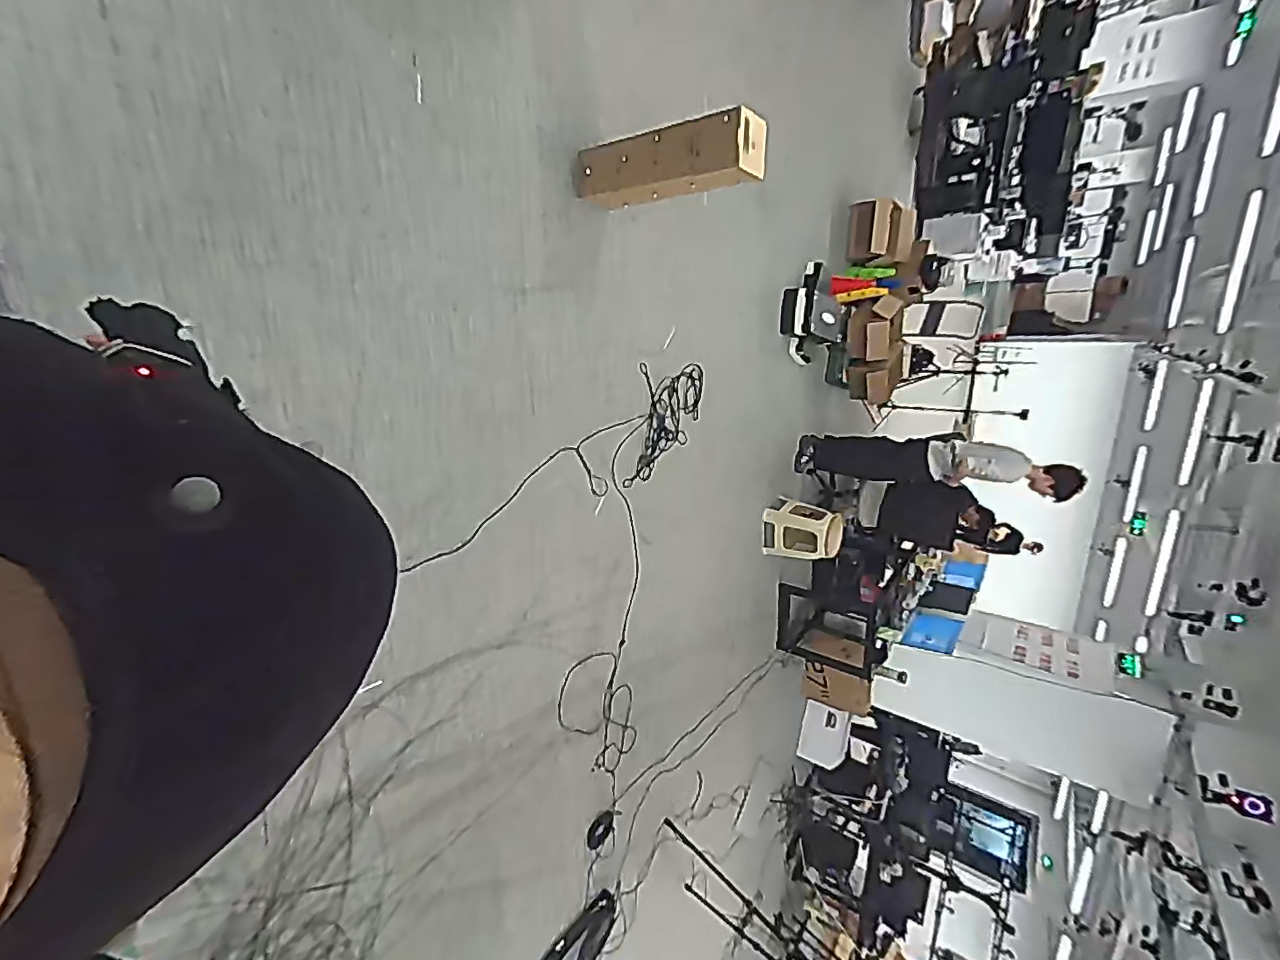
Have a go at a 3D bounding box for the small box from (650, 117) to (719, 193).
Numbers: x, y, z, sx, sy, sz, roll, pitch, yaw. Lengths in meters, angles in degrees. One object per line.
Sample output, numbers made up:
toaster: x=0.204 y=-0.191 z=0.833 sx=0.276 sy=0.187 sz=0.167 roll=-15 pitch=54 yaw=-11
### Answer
small box: x=0.146 y=-1.078 z=1.809 sx=0.179 sy=0.176 sz=0.168 roll=-16 pitch=112 yaw=-51

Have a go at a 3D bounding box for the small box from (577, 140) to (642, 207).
small box: x=-0.113 y=-1.126 z=2.001 sx=0.179 sy=0.176 sz=0.168 roll=-12 pitch=108 yaw=-51
